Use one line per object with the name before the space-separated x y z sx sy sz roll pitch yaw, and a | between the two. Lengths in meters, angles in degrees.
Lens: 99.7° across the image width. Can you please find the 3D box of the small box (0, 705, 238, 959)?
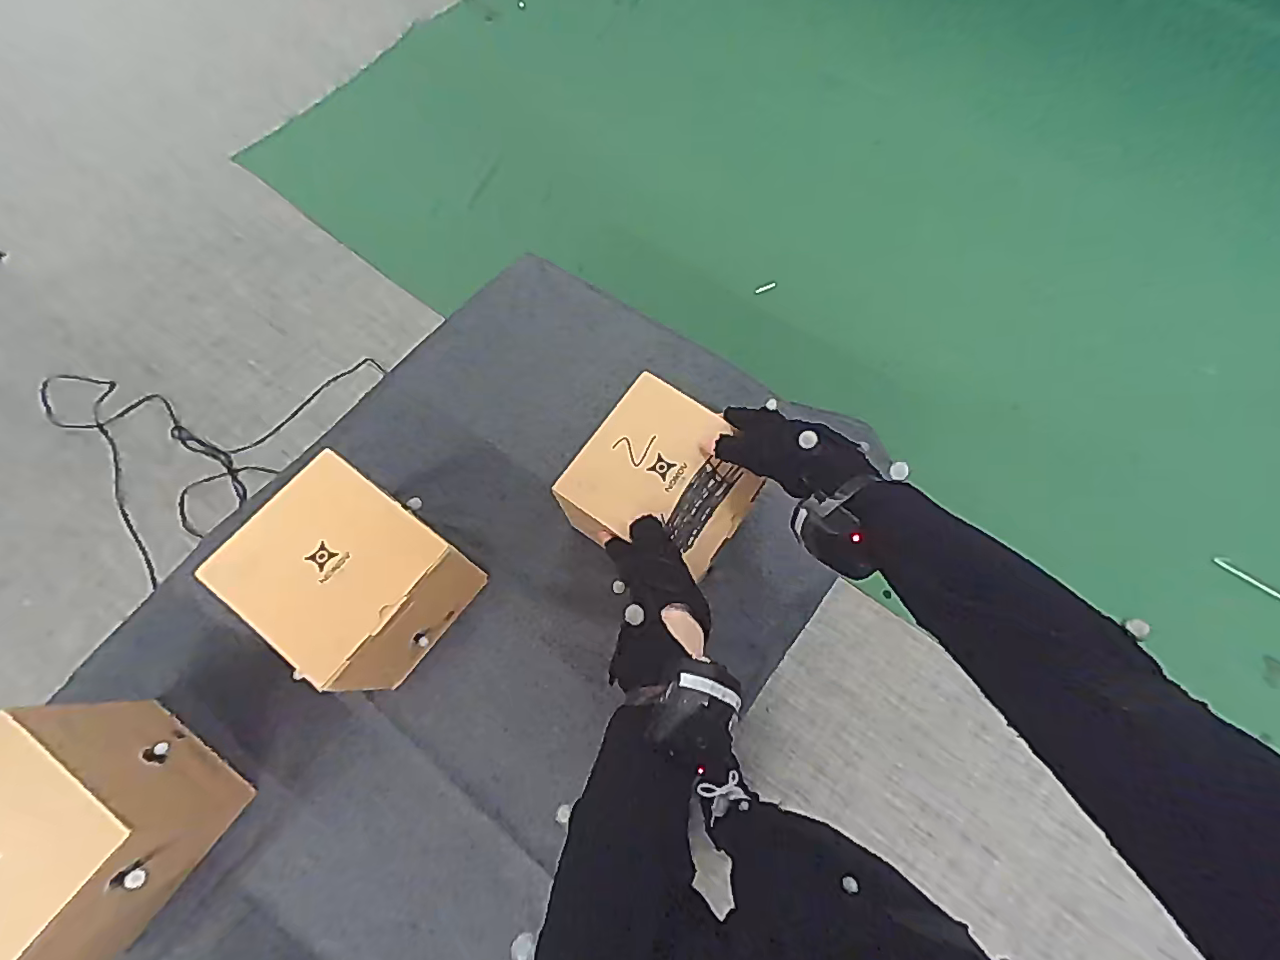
small box | -0.522 0.328 0.496 0.168 0.176 0.179 34 72 10

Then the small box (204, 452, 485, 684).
small box | -0.301 0.106 0.593 0.179 0.176 0.168 36 72 10
